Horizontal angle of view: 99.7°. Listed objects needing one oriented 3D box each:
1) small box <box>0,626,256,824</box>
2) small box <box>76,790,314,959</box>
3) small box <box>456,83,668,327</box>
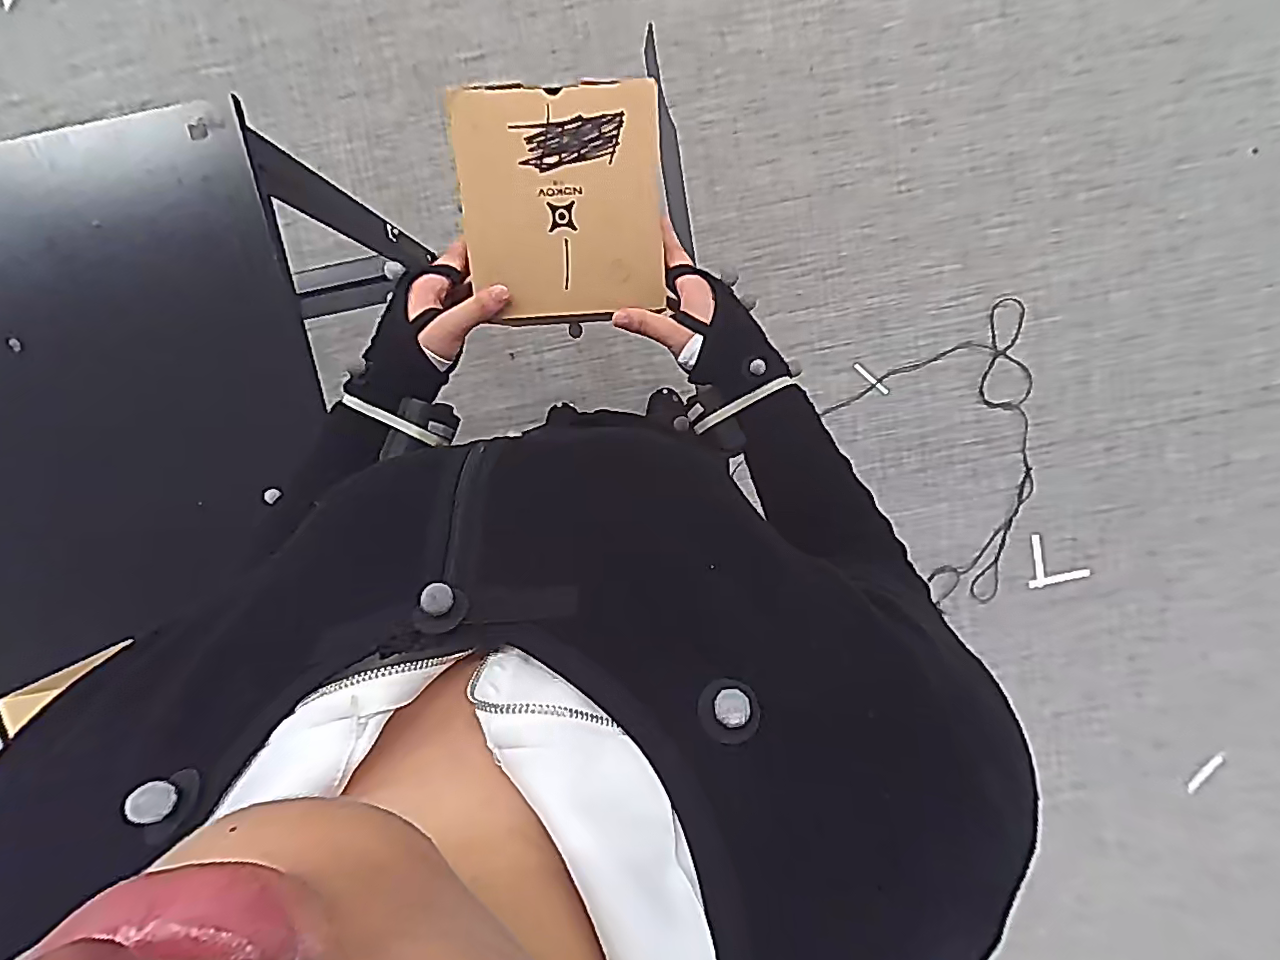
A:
[{"bbox_3d":[-0.655,0.311,0.720,0.179,0.176,0.168,-11,97,2],"label":"small box"},{"bbox_3d":[-0.600,0.565,0.754,0.168,0.176,0.179,-12,97,2],"label":"small box"},{"bbox_3d":[-0.065,-0.244,0.521,0.168,0.176,0.179,-3,105,-2],"label":"small box"}]
